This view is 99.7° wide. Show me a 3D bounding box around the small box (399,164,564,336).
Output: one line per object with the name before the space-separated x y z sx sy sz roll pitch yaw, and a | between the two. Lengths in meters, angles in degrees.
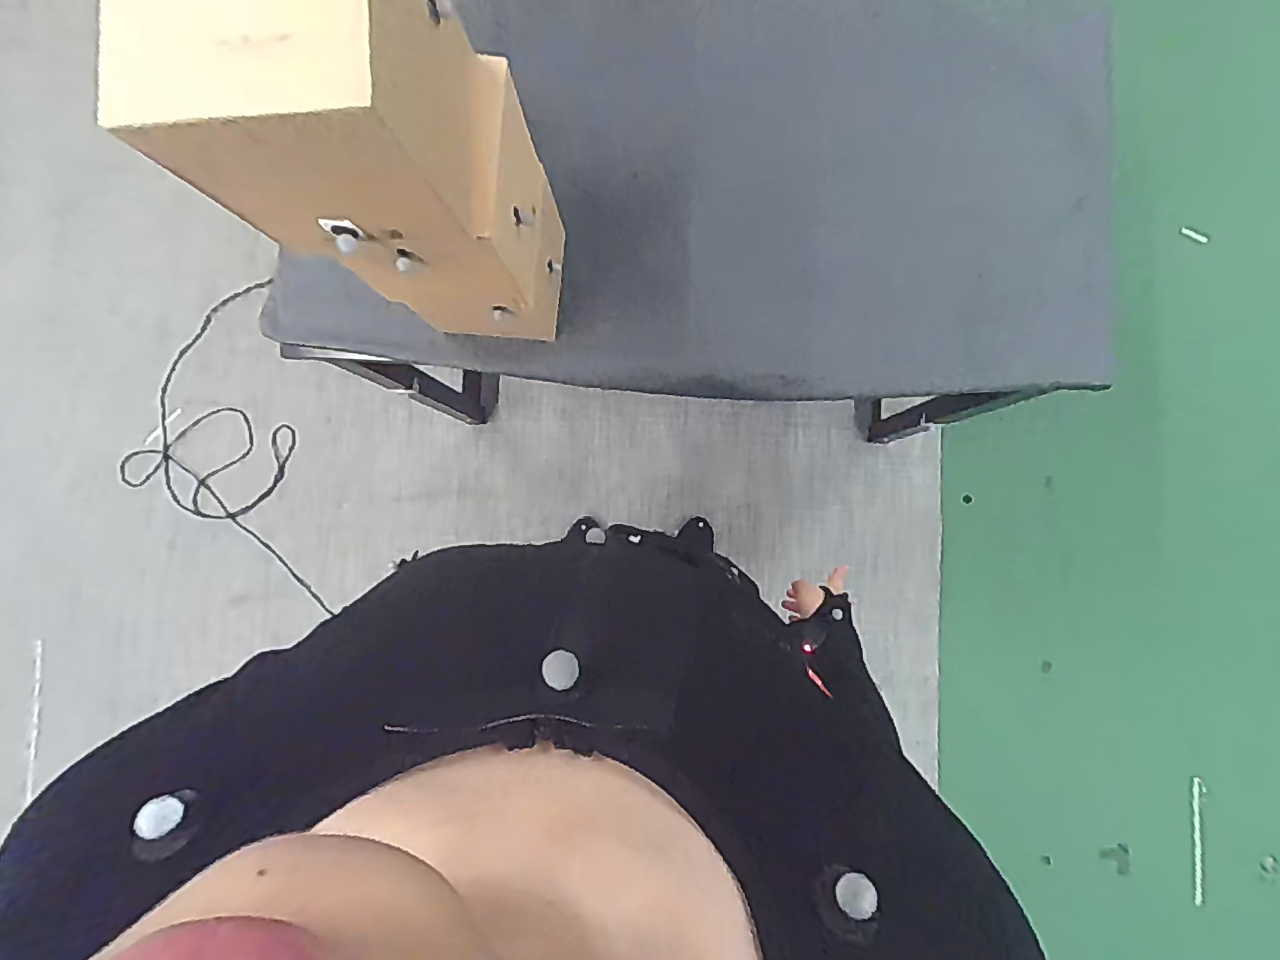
small box | -0.204 -0.299 0.716 0.179 0.176 0.168 5 87 3

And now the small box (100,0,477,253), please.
small box | -0.227 -0.290 0.392 0.168 0.176 0.179 -2 89 4

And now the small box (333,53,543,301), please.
small box | -0.204 -0.294 0.554 0.179 0.176 0.168 4 88 3
